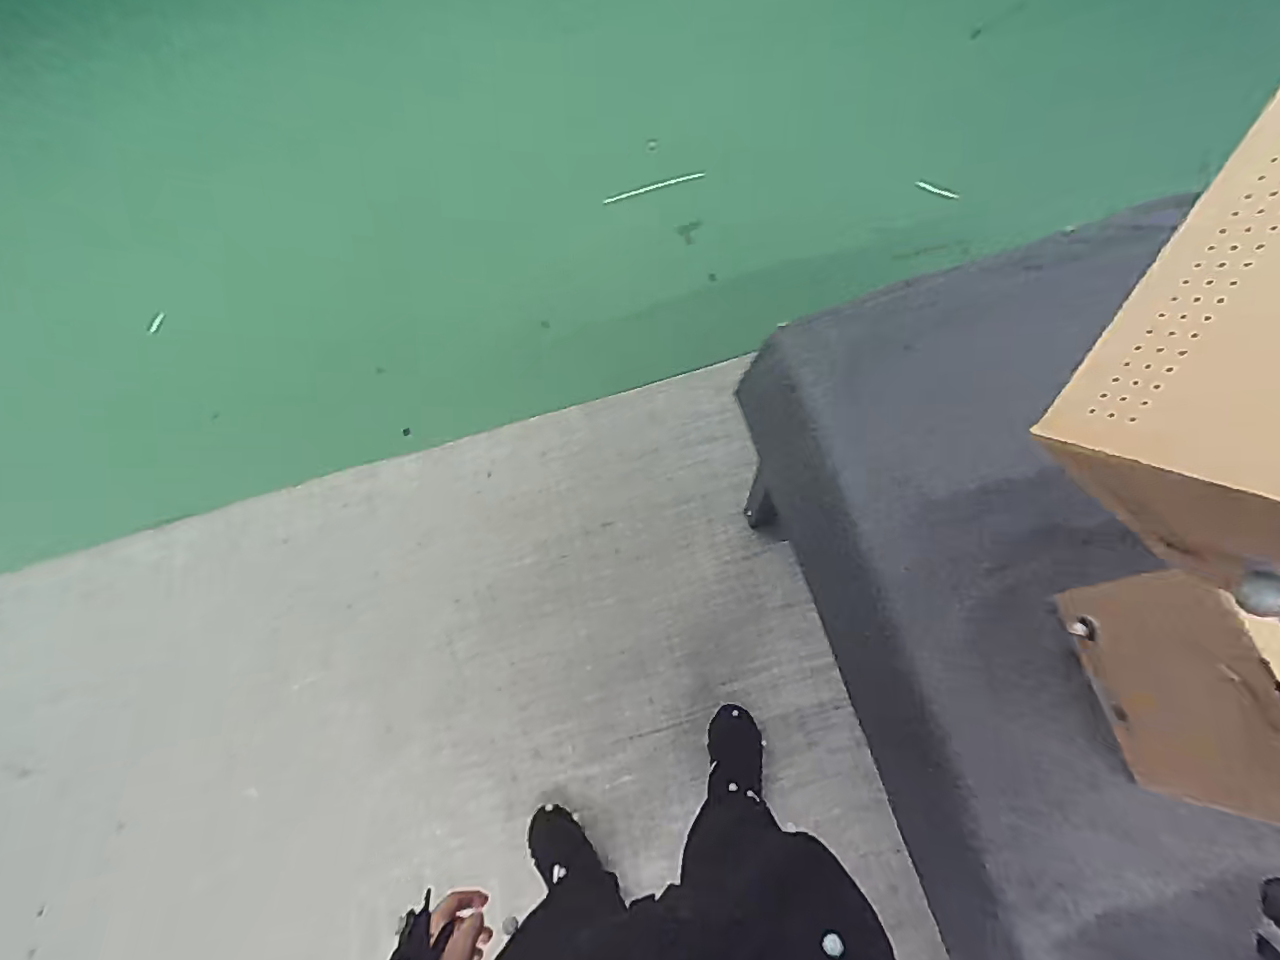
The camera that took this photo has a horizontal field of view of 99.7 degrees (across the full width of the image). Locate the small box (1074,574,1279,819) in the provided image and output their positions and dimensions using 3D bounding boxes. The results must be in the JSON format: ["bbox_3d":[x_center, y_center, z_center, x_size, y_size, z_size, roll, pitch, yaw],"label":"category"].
[{"bbox_3d":[0.477,0.142,0.401,0.179,0.176,0.168,-12,69,1],"label":"small box"}]
